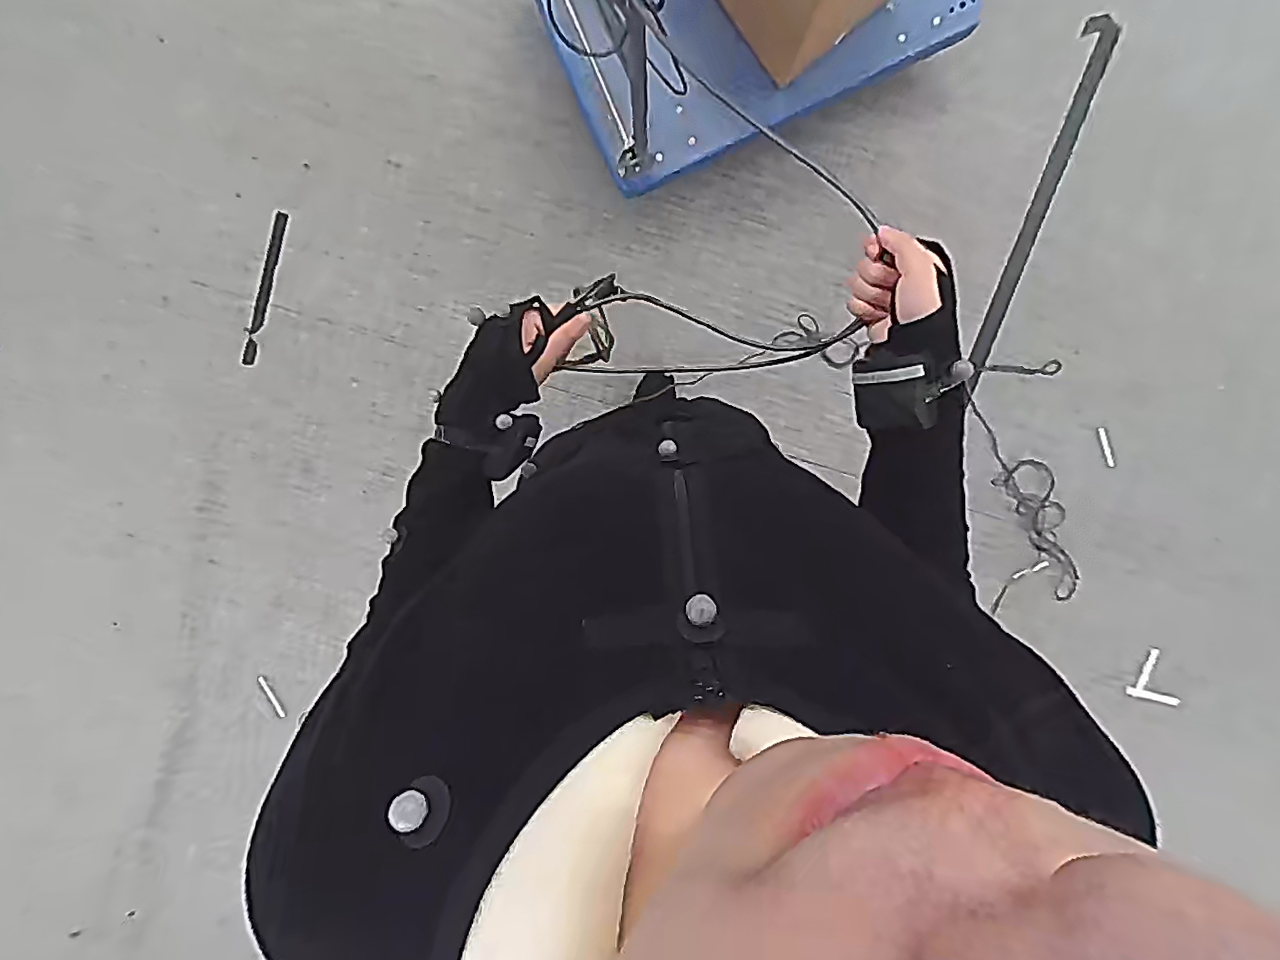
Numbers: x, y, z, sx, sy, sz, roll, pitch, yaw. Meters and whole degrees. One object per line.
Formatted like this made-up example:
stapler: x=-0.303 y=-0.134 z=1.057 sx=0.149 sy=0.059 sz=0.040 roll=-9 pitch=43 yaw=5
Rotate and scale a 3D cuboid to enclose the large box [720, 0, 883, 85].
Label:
large box: x=0.302 y=-1.074 z=0.991 sx=0.320 sy=0.320 sz=0.408 roll=-39 pitch=99 yaw=6
